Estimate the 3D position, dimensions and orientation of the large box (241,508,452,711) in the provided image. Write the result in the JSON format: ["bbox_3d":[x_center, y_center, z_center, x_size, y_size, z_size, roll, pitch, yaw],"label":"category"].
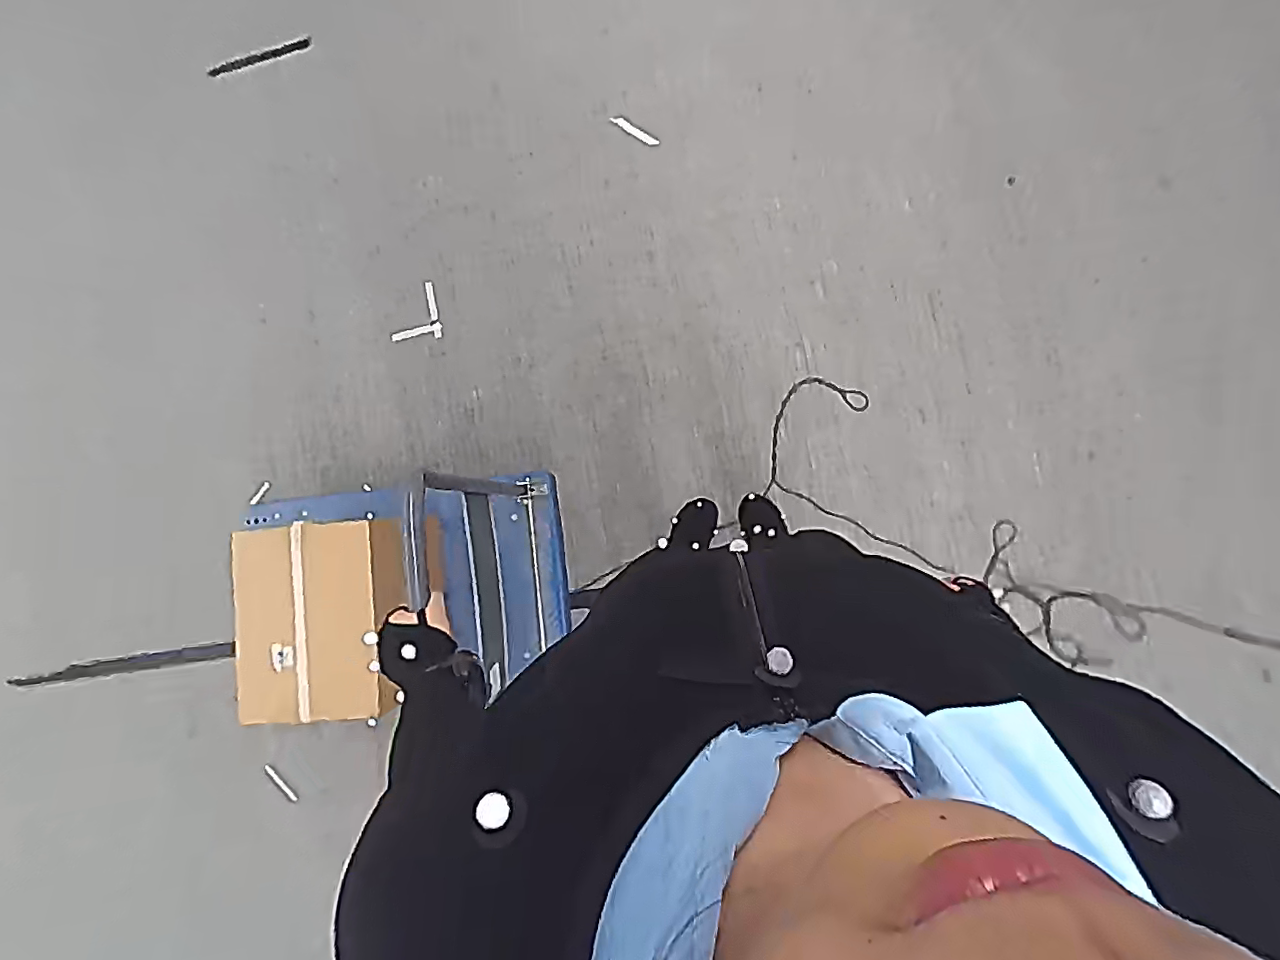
[{"bbox_3d":[-0.668,0.281,1.279,0.320,0.320,0.408,-5,88,7],"label":"large box"}]
